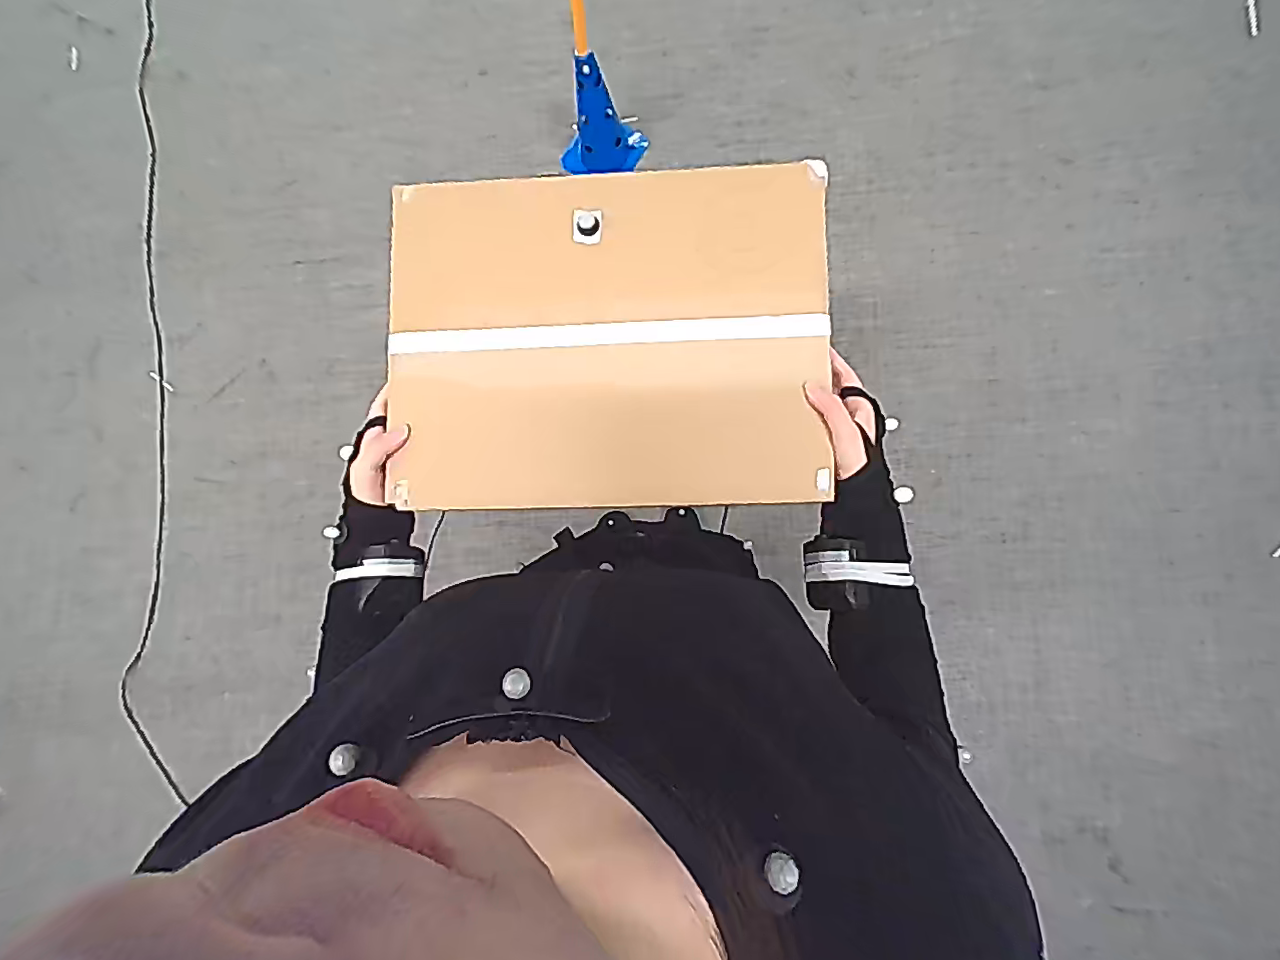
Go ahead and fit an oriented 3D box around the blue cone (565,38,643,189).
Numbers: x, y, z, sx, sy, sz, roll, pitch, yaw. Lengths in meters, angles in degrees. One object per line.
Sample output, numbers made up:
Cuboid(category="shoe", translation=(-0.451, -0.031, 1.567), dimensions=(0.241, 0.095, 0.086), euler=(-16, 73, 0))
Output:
Cuboid(category="blue cone", translation=(-0.114, -0.957, 1.383), dimensions=(0.192, 0.380, 0.193), euler=(30, 89, 4))
